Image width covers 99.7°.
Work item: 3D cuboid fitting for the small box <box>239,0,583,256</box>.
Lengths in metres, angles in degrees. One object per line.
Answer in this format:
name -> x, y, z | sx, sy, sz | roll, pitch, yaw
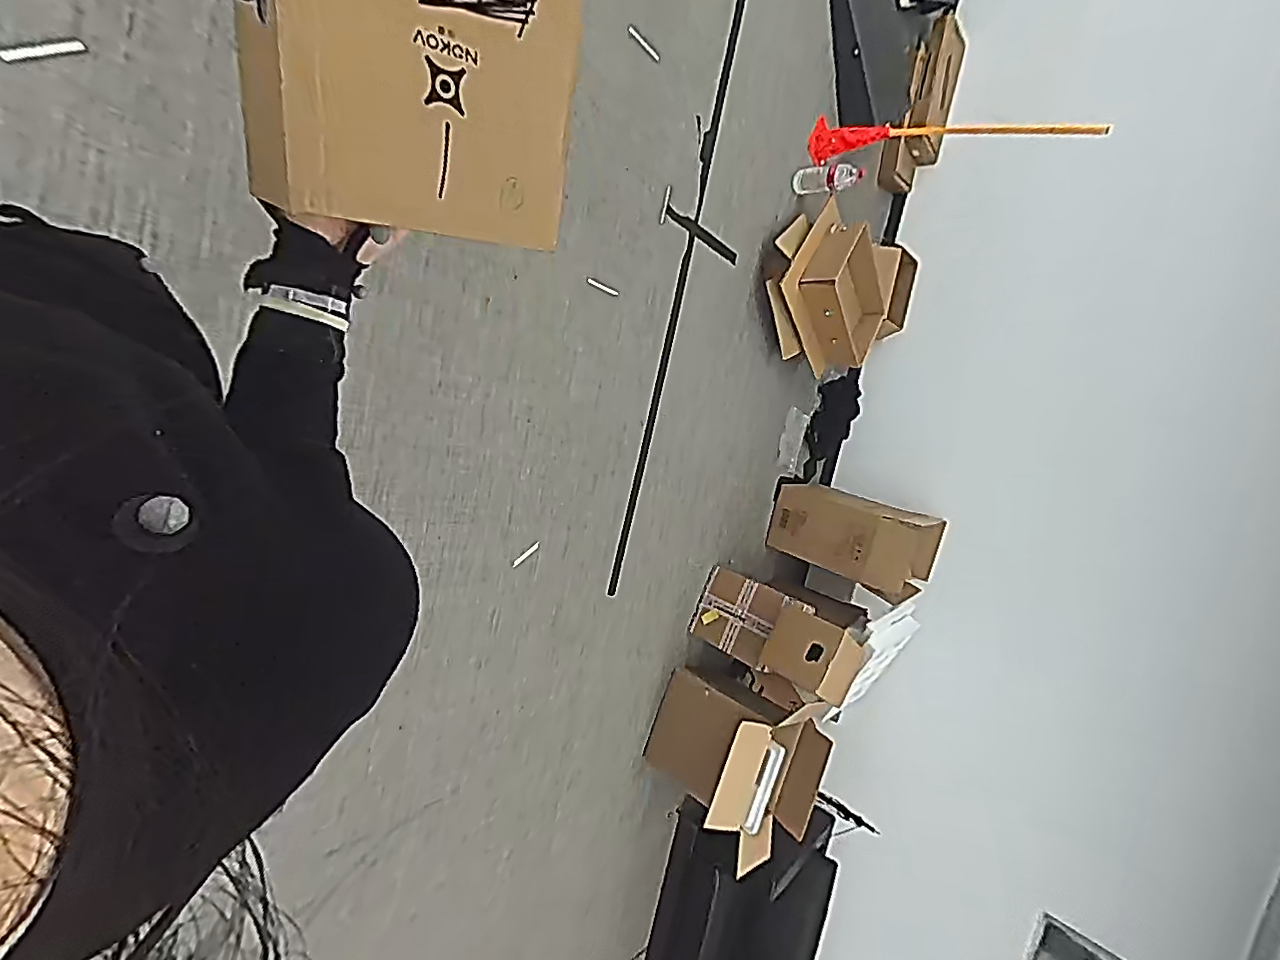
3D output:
small box -> -0.160, -0.266, 0.368 | 0.168, 0.176, 0.179 | -9, 121, -39
